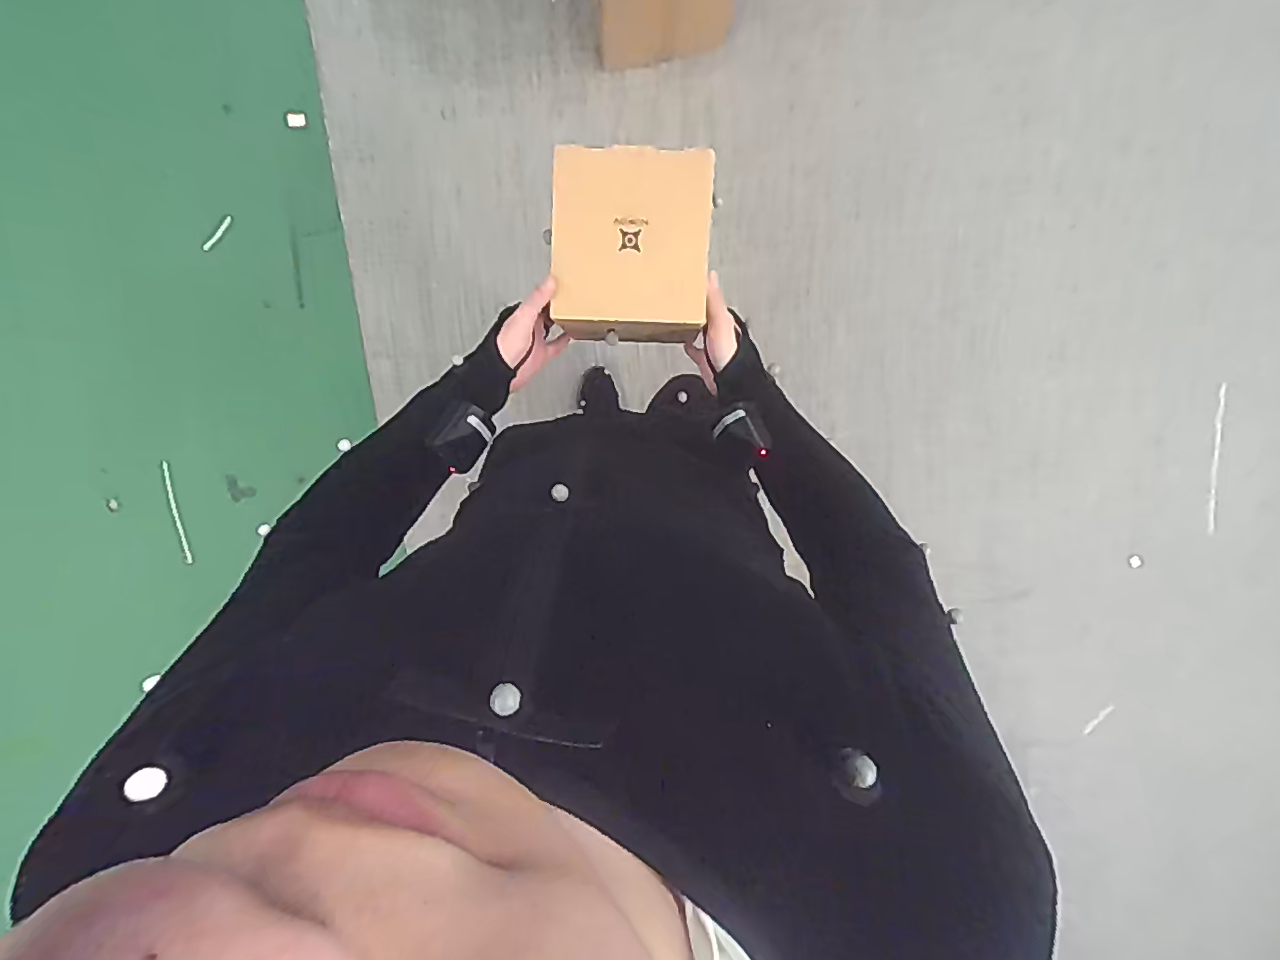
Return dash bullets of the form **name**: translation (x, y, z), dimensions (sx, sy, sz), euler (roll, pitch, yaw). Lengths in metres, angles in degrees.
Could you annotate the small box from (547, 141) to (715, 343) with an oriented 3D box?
- **small box**: translation (-0.008, -0.257, 0.625), dimensions (0.168, 0.176, 0.179), euler (2, 96, 1)
